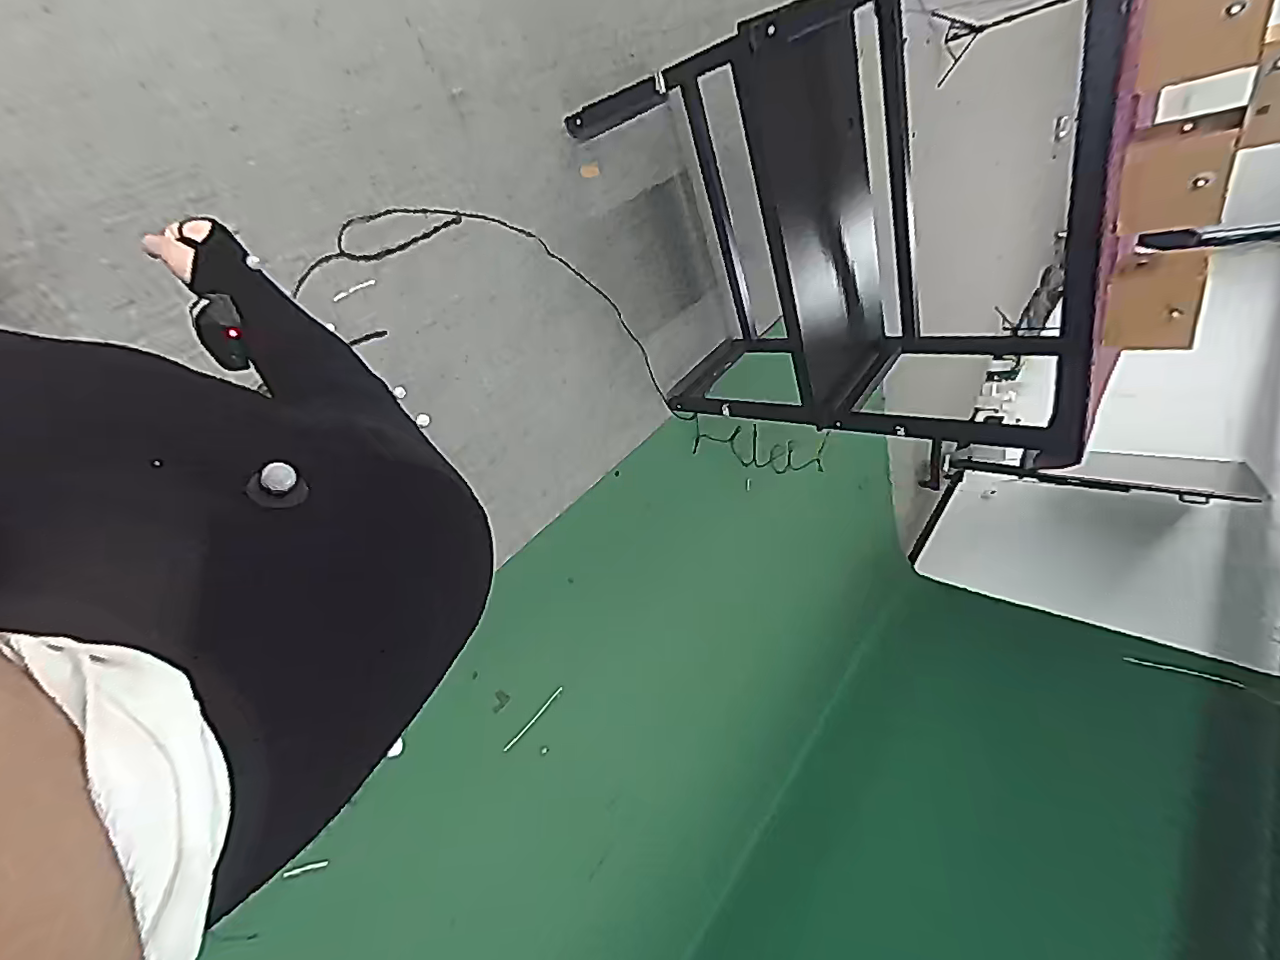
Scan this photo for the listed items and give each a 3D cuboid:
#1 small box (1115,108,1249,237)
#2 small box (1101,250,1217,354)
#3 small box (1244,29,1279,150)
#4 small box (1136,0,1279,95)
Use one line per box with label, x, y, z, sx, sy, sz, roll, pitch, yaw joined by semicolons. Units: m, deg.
small box;1.110;-0.626;1.115;0.168;0.176;0.179;-44;128;-29
small box;1.206;-0.413;1.267;0.168;0.176;0.179;-45;127;-30
small box;1.193;-0.703;0.942;0.179;0.176;0.168;-43;129;-31
small box;1.026;-0.838;0.974;0.168;0.176;0.179;-46;129;-27
